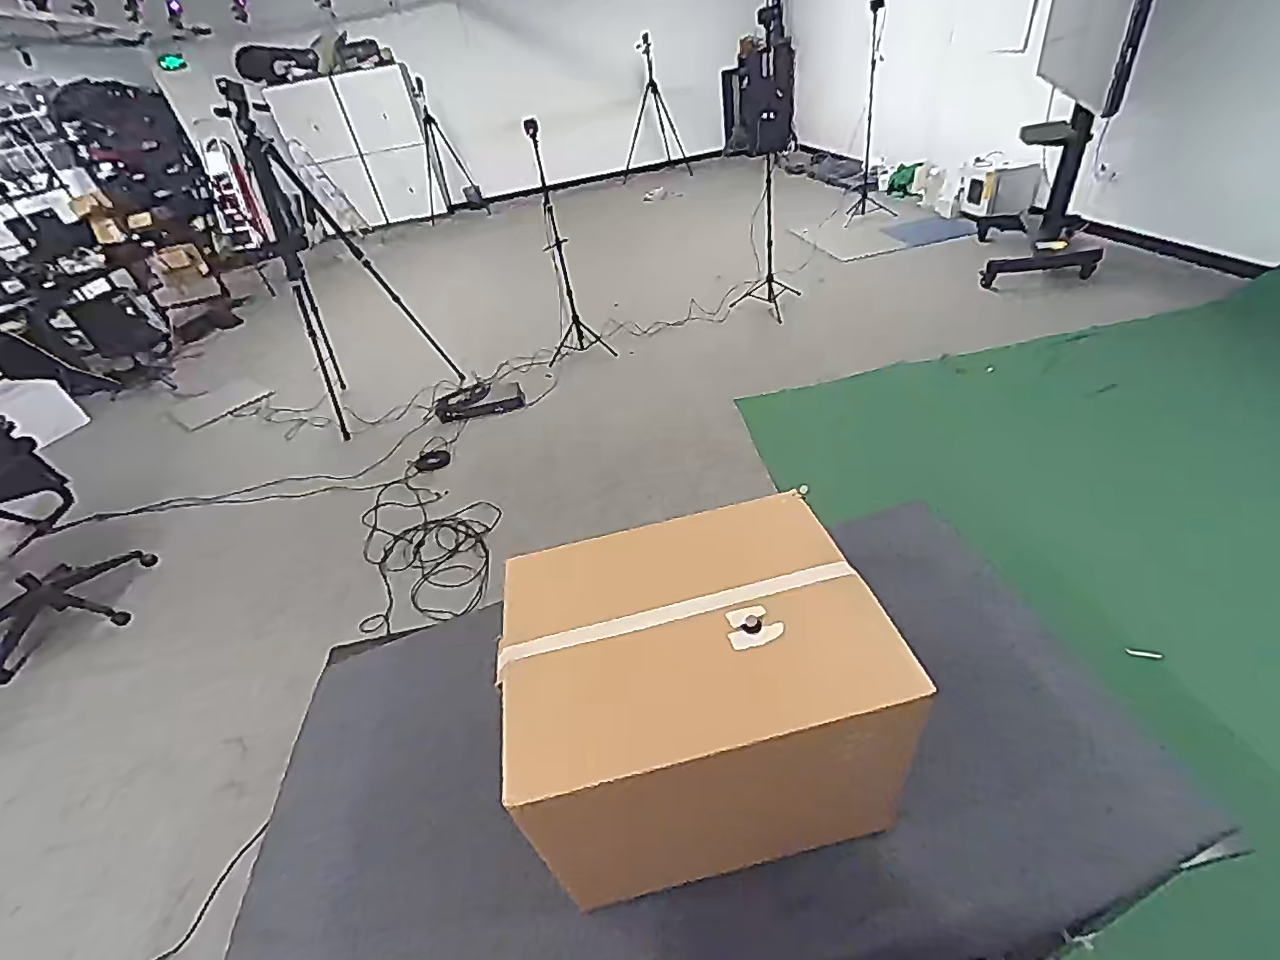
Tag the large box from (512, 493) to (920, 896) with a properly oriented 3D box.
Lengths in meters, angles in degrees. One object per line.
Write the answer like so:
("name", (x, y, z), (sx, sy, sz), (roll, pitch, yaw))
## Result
("large box", (0.070, 0.268, 0.709), (0.408, 0.320, 0.320), (-13, 38, -4))
